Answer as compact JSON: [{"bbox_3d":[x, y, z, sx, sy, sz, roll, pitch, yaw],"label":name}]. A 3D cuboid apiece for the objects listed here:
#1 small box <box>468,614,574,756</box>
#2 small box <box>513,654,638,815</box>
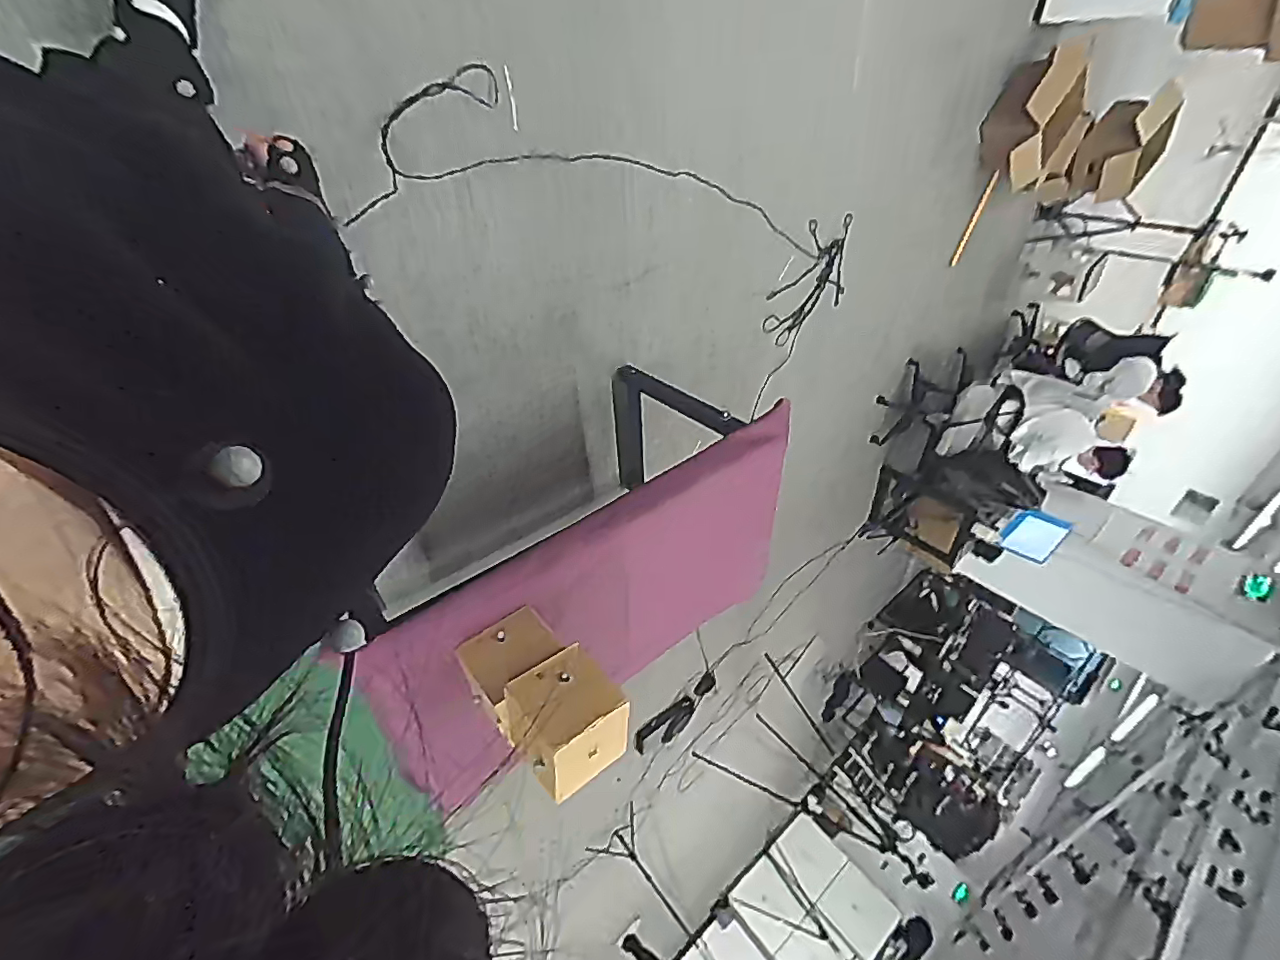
[{"bbox_3d":[-0.237,0.416,1.118,0.179,0.176,0.168,-29,135,-29],"label":"small box"},{"bbox_3d":[-0.122,0.466,1.011,0.168,0.176,0.179,-23,130,-35],"label":"small box"}]
